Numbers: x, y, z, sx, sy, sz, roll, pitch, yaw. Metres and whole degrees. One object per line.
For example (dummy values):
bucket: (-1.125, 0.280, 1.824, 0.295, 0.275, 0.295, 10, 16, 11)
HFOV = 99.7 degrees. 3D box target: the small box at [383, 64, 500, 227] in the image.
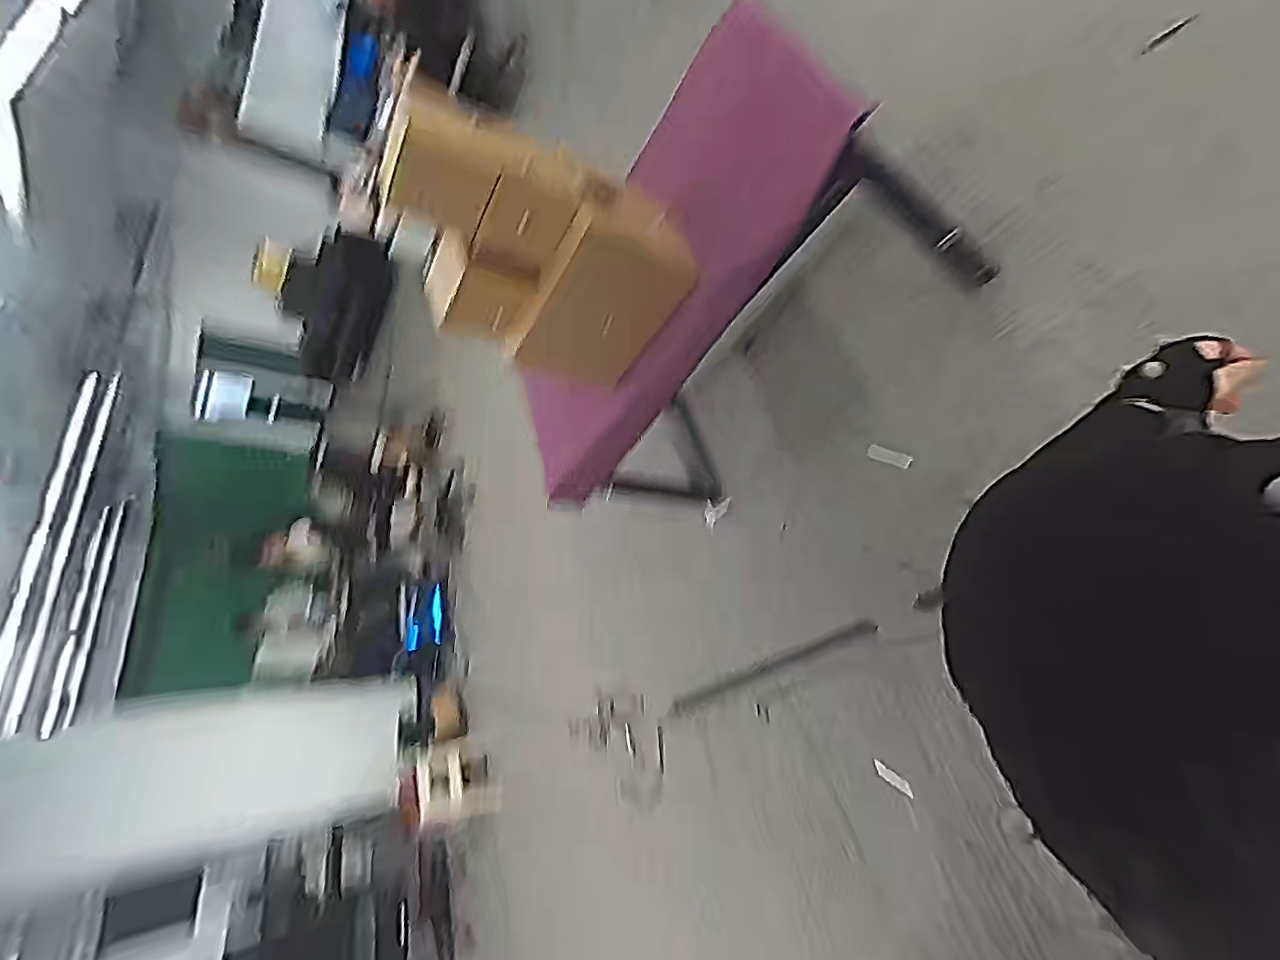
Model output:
small box: (-0.380, -0.622, 1.026, 0.179, 0.176, 0.168, -44, 51, 40)
